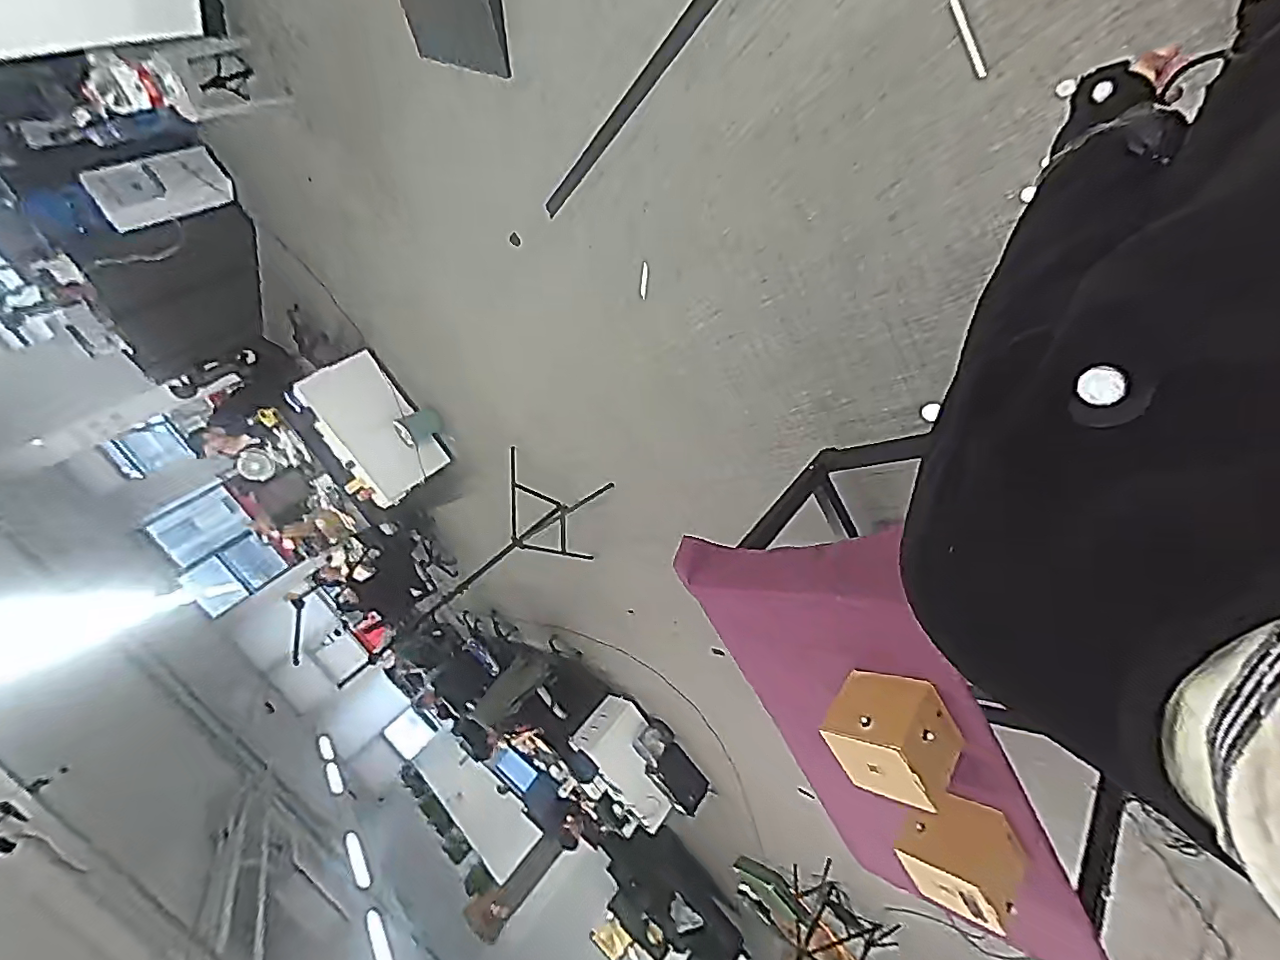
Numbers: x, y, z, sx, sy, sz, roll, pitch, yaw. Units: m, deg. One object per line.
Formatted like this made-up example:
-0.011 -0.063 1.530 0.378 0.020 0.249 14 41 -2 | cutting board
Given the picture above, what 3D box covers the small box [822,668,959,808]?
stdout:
0.508 0.502 1.081 0.168 0.176 0.179 56 148 -12 | small box
